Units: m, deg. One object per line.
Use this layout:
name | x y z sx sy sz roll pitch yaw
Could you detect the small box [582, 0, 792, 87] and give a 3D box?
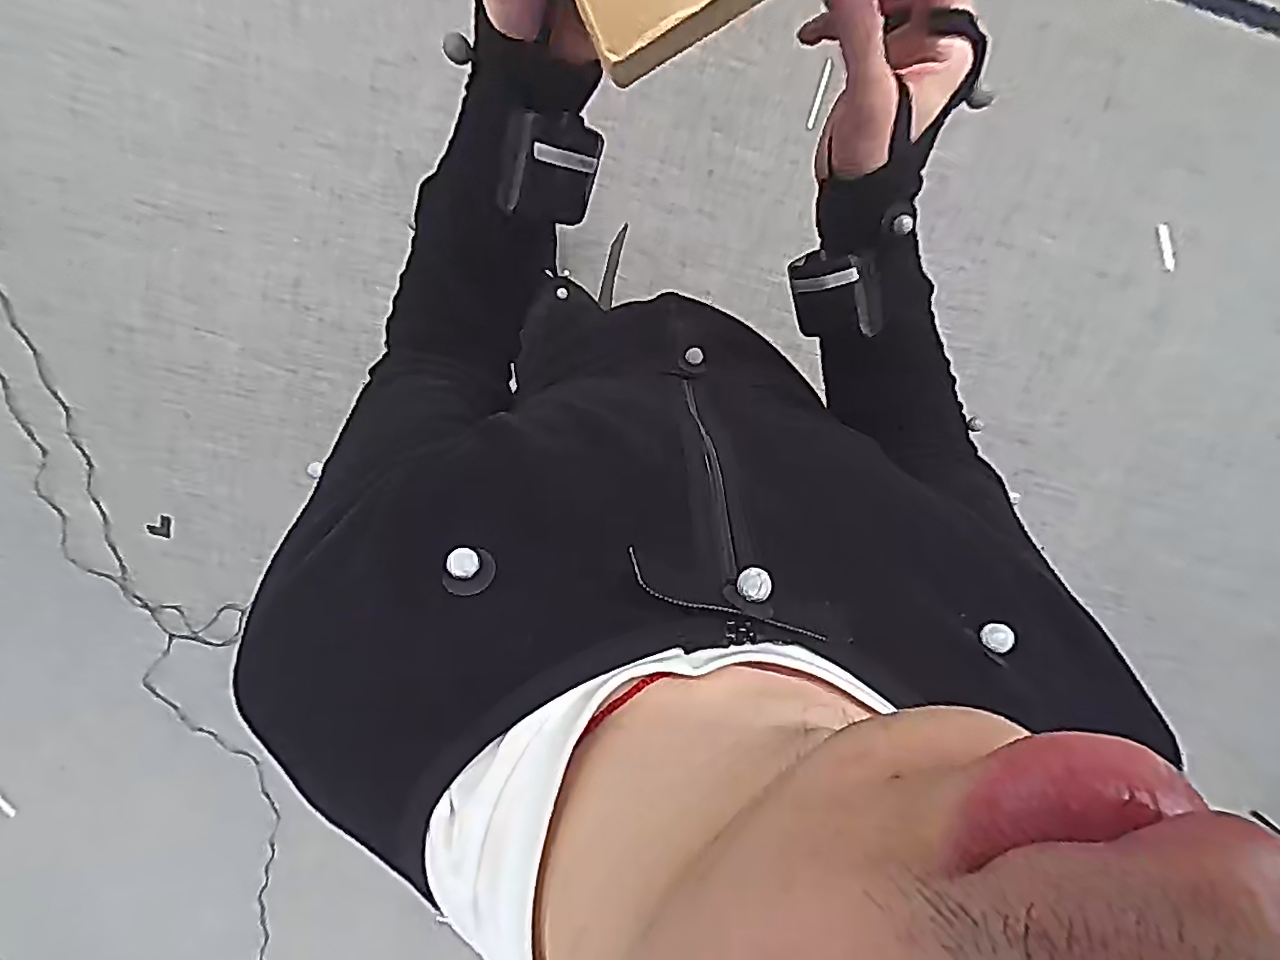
small box | 0.033 -0.270 0.184 0.179 0.176 0.168 -23 121 15
